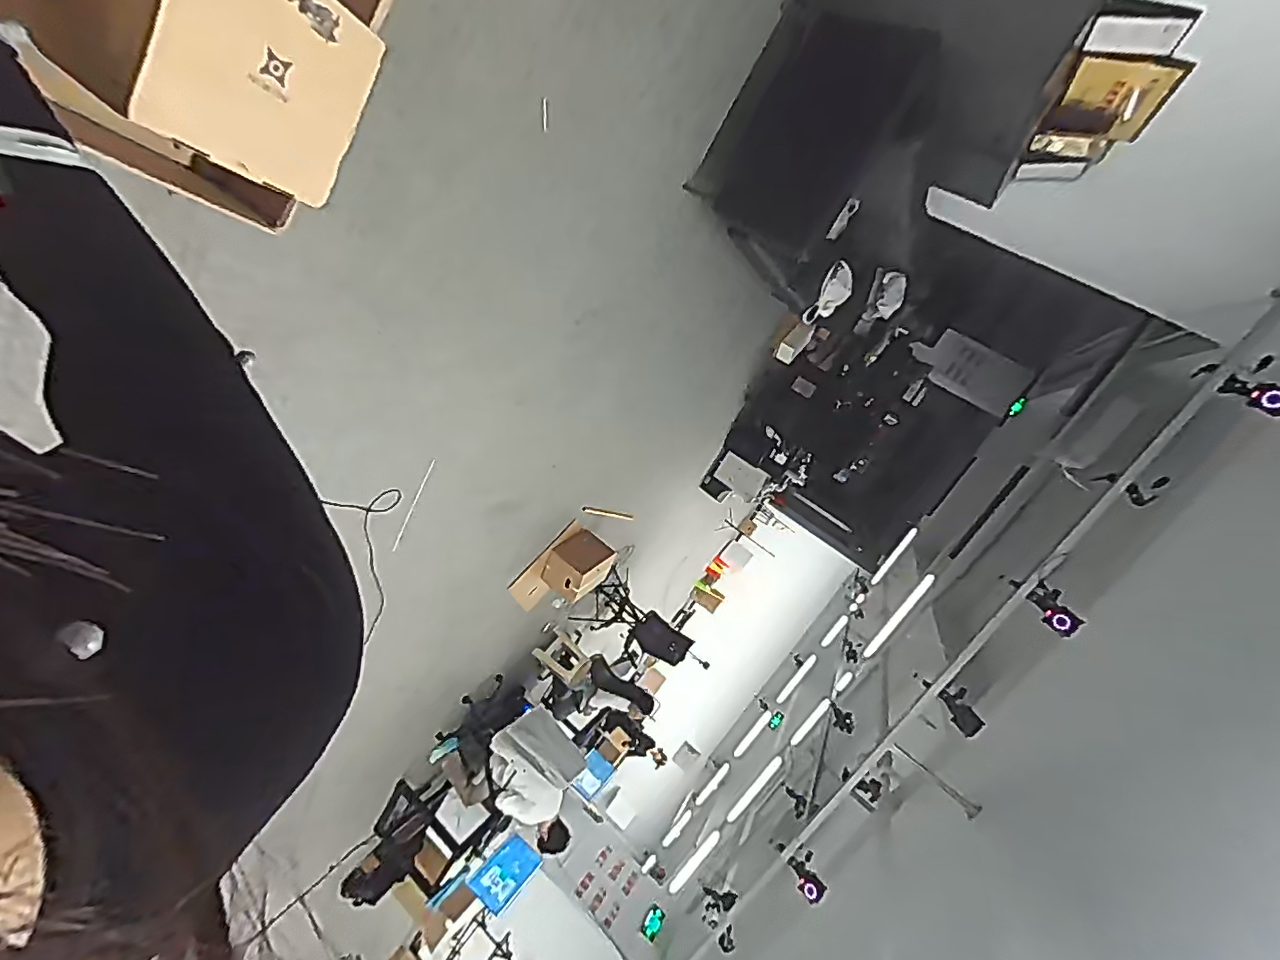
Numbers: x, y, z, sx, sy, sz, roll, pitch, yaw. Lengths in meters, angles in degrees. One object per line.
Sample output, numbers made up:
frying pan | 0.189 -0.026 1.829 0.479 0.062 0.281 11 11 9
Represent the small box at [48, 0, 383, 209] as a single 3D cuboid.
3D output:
small box | -0.387 -0.400 0.500 0.179 0.176 0.168 -57 163 14
